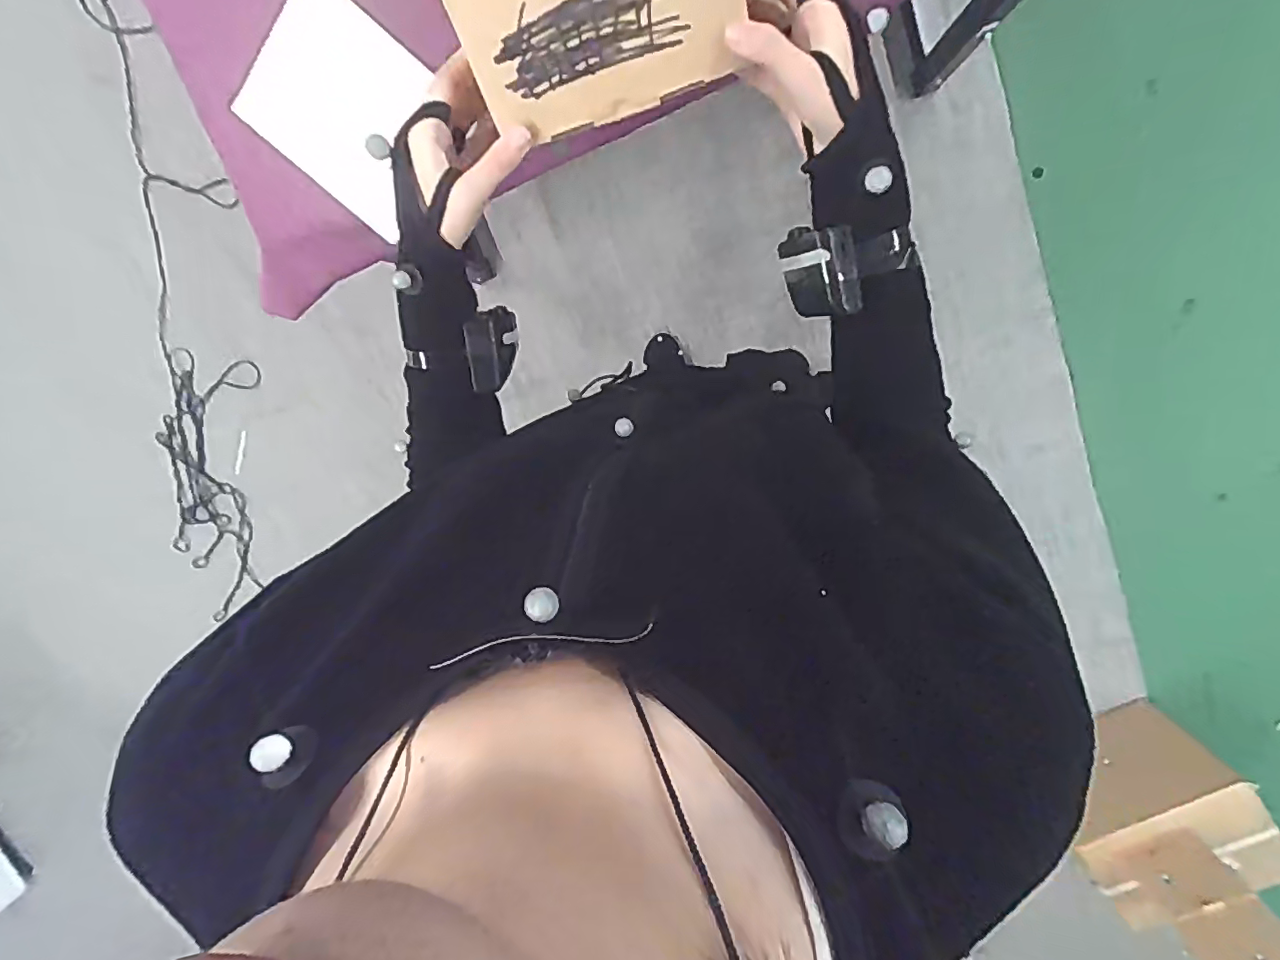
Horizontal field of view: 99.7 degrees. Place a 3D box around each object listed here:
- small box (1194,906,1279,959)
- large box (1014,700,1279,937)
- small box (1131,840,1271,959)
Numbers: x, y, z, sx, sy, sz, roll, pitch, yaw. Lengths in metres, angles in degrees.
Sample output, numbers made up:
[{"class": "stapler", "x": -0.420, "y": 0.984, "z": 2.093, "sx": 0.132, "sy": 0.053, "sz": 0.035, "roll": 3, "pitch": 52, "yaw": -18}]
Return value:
[{"class": "small box", "x": 1.246, "y": 0.988, "z": 1.047, "sx": 0.179, "sy": 0.176, "sz": 0.168, "roll": -35, "pitch": 97, "yaw": 13}, {"class": "large box", "x": 1.331, "y": 0.876, "z": 1.432, "sx": 0.408, "sy": 0.320, "sz": 0.320, "roll": -35, "pitch": 99, "yaw": 11}, {"class": "small box", "x": 1.264, "y": 0.946, "z": 1.204, "sx": 0.168, "sy": 0.176, "sz": 0.179, "roll": -34, "pitch": 98, "yaw": 13}]
